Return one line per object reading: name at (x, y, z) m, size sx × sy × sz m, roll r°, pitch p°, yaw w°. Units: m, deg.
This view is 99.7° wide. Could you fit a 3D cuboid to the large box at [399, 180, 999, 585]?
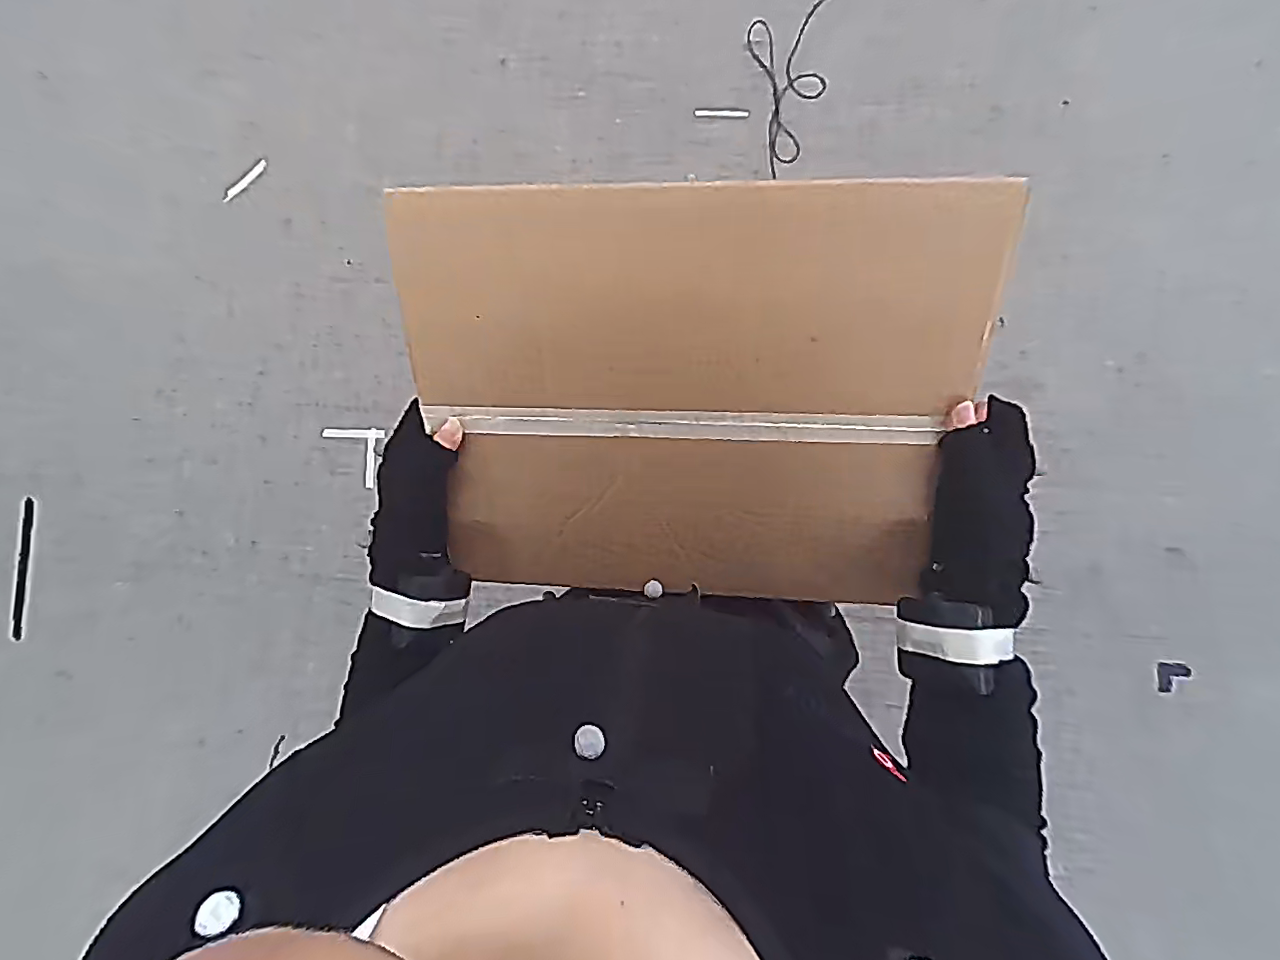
large box at (0.048, -0.116, 0.552) m, size 0.408 × 0.320 × 0.320 m, roll 2°, pitch 116°, yaw 6°
